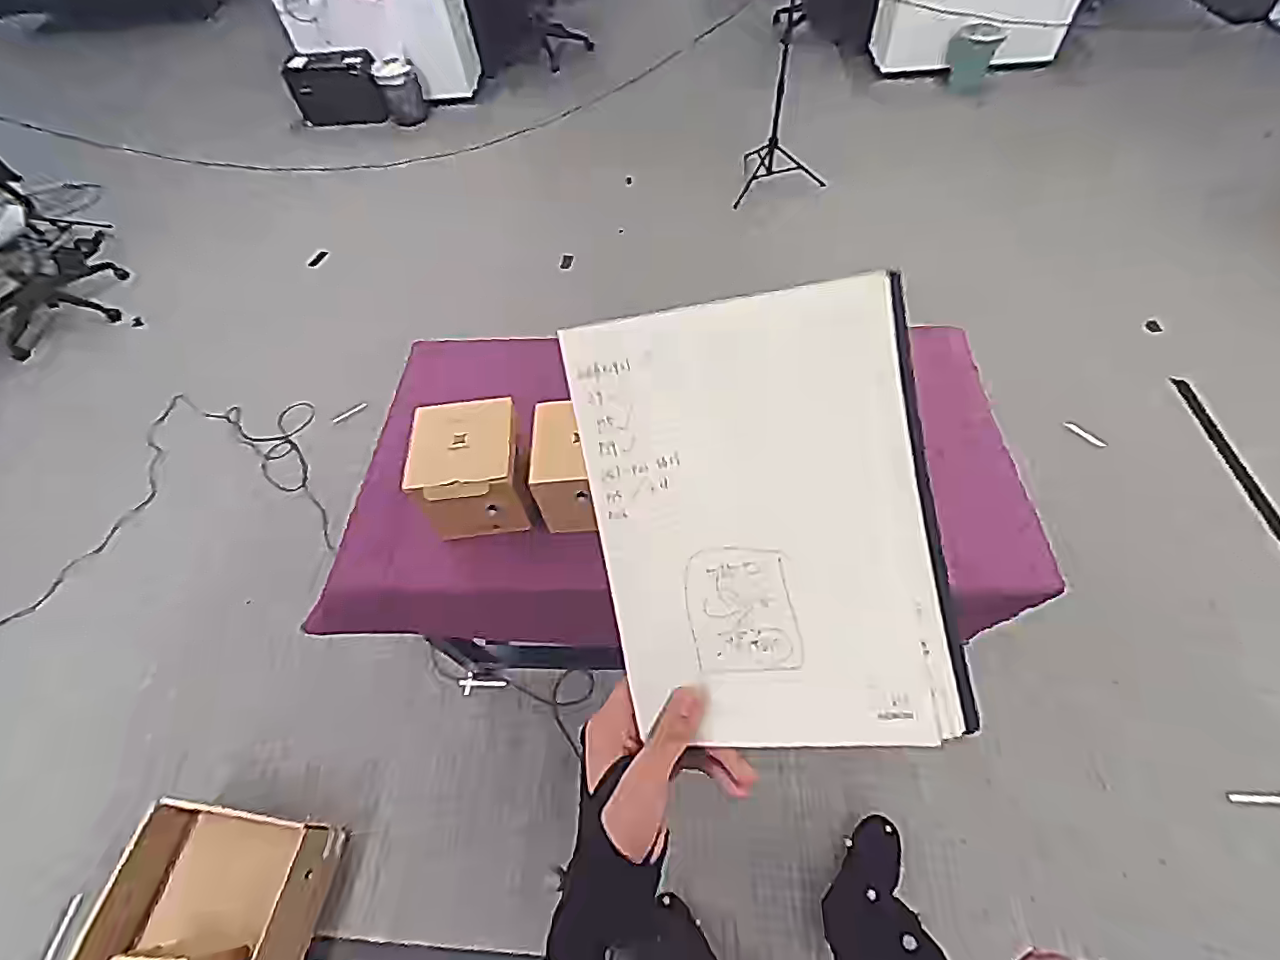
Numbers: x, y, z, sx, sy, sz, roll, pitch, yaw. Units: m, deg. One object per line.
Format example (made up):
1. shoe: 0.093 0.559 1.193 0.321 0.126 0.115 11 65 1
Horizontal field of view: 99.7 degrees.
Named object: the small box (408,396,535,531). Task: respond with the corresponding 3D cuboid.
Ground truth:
1. small box: -0.283 -0.022 0.953 0.168 0.176 0.179 -6 56 0
